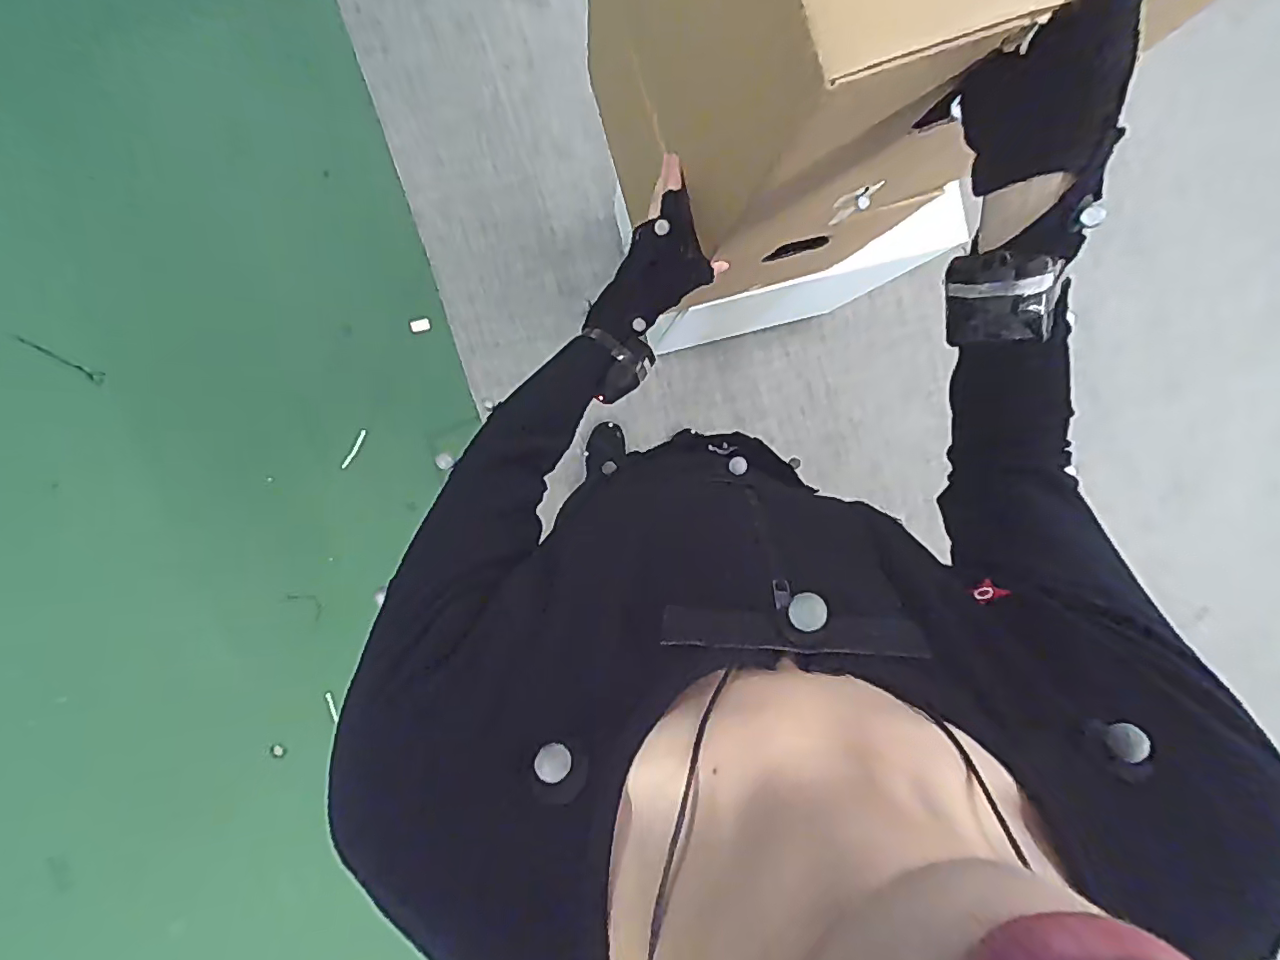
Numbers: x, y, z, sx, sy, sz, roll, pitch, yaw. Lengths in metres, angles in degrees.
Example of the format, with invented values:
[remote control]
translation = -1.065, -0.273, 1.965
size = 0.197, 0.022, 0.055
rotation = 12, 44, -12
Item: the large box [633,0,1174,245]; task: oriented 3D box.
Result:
[large box]
translation = 0.162, -0.469, 0.414
size = 0.320, 0.320, 0.408
rotation = -19, 96, -2
